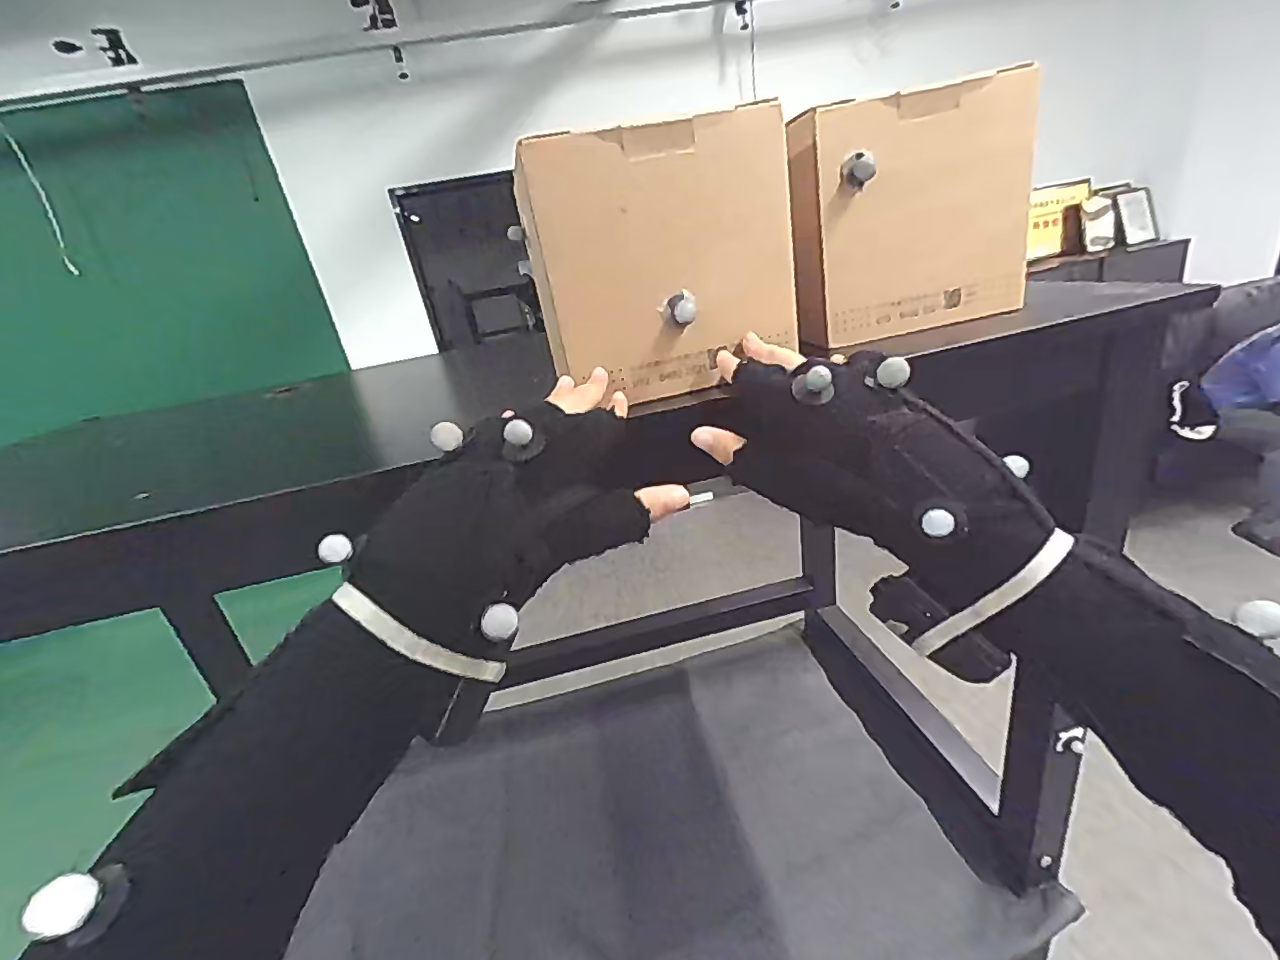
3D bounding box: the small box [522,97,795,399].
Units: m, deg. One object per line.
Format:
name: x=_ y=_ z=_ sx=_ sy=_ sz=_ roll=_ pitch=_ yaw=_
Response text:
small box: x=0.007 y=-0.169 z=0.427 sx=0.168 sy=0.176 sz=0.179 roll=-14 pitch=22 yaw=-8
